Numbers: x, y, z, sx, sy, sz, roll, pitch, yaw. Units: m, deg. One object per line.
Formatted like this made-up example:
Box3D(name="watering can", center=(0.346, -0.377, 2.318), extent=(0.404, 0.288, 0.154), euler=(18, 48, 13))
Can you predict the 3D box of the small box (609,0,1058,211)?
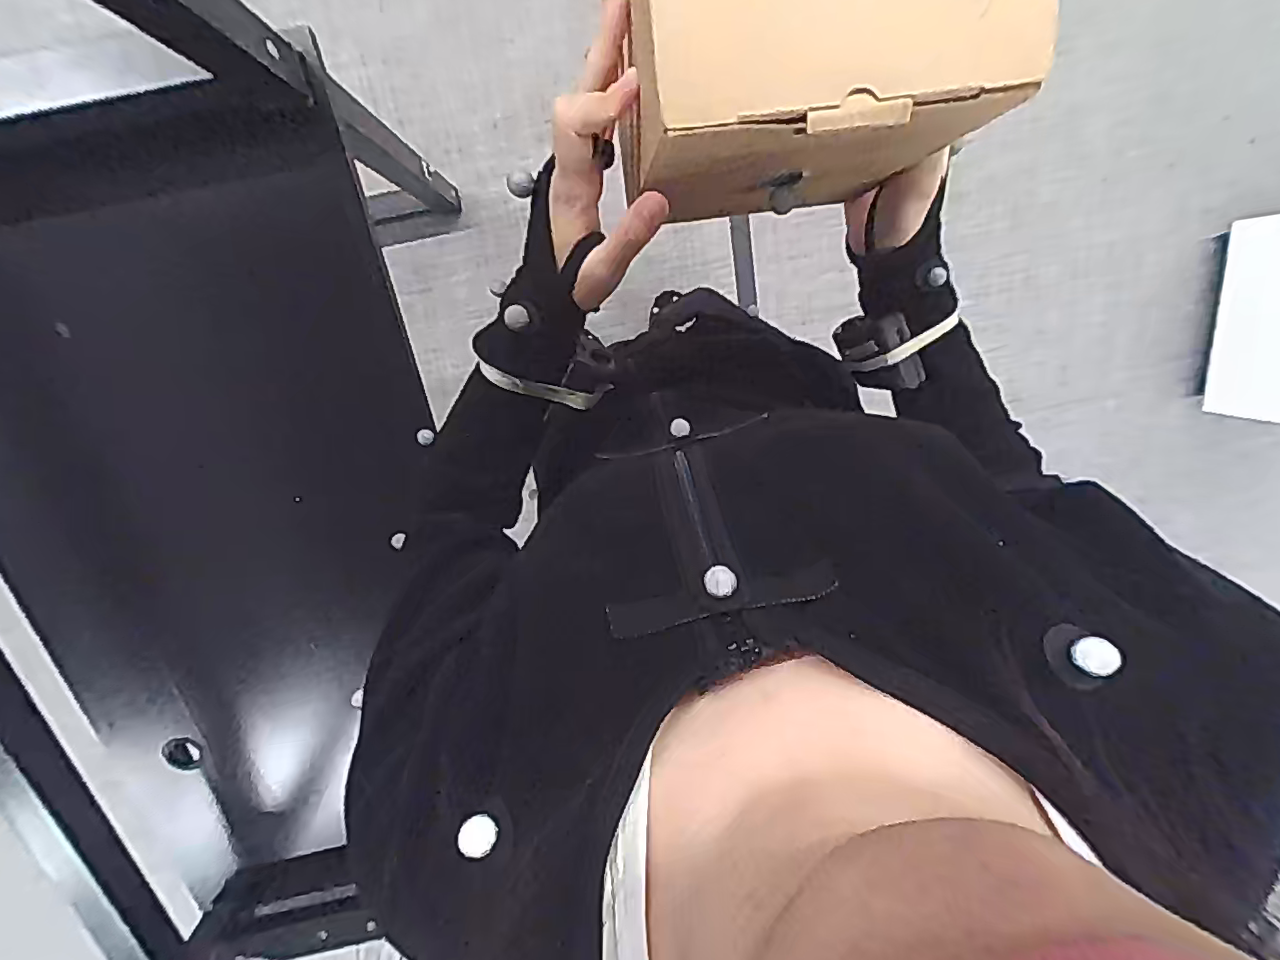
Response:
Box3D(name="small box", center=(0.074, -0.252, 0.279), extent=(0.168, 0.176, 0.179), euler=(-9, 104, -4))
